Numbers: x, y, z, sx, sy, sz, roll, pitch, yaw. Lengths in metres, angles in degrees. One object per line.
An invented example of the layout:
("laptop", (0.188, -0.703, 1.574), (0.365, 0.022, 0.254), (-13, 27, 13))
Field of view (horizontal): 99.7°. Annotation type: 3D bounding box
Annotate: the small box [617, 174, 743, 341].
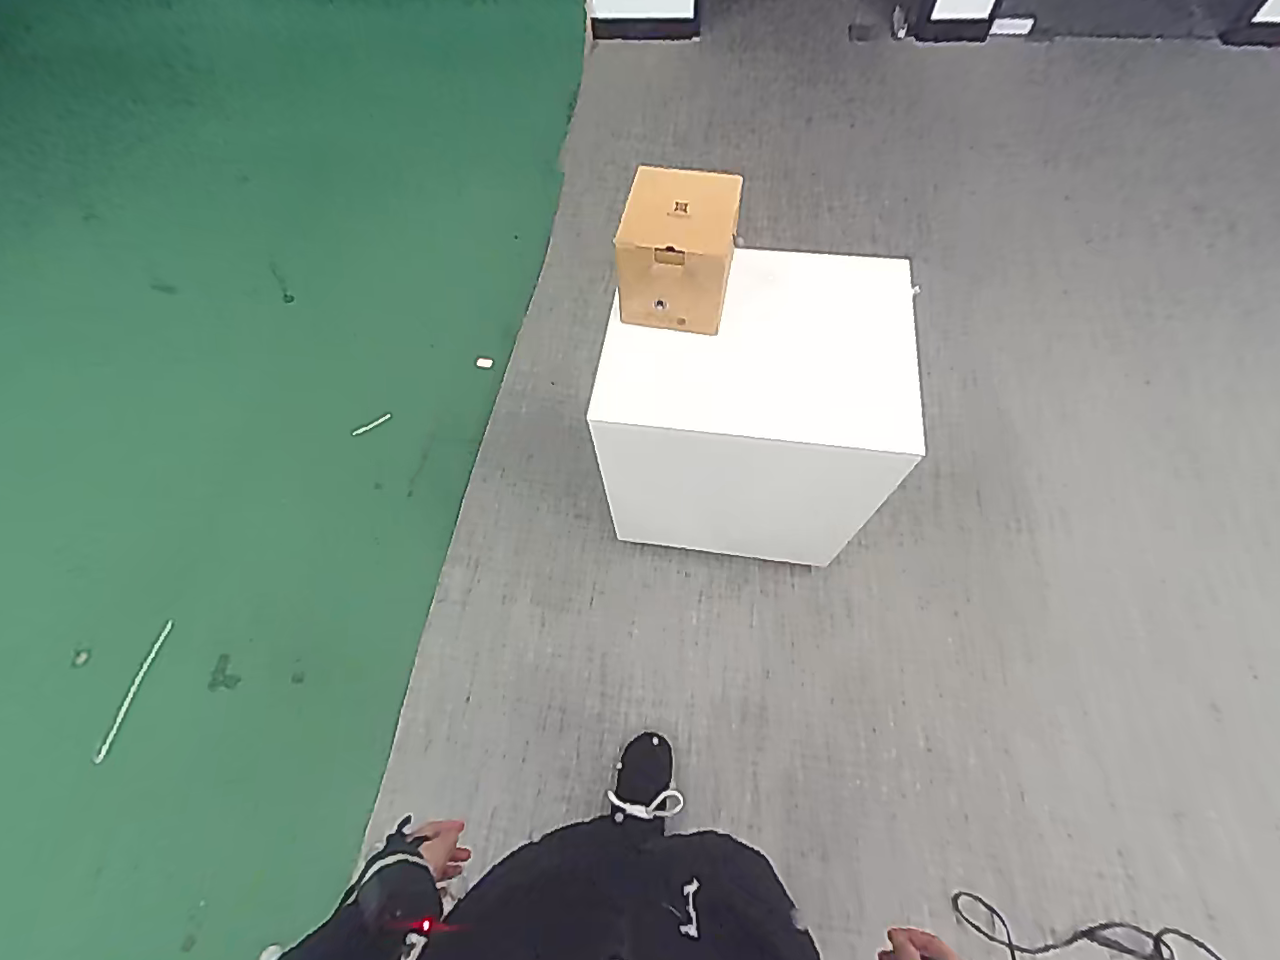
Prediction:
("small box", (0.064, -0.356, 0.876), (0.168, 0.176, 0.179), (10, 65, 7))
